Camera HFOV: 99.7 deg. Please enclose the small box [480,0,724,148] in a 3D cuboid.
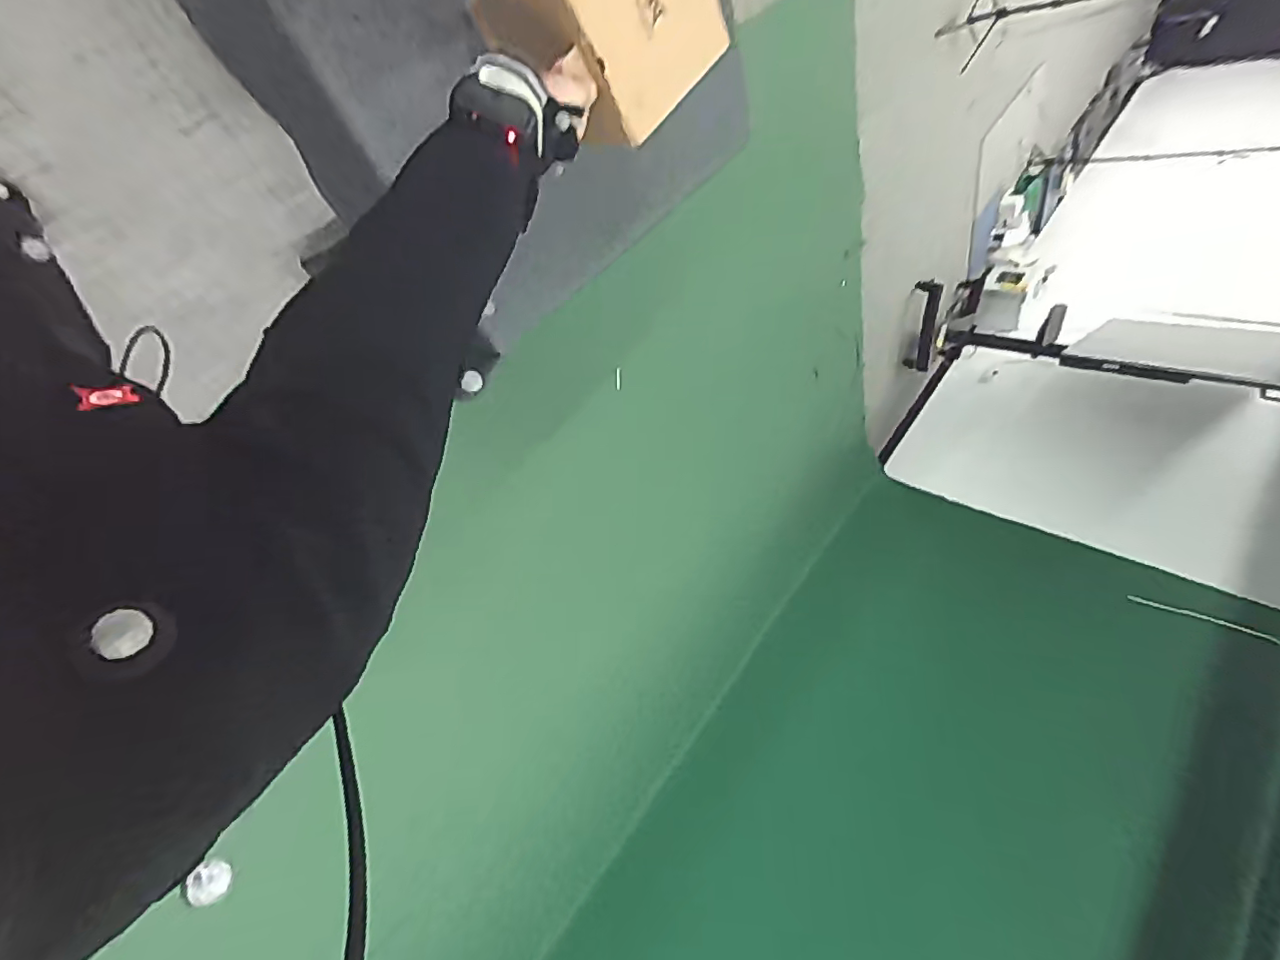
[{"bbox_3d":[-0.045,-0.487,0.582,0.179,0.176,0.168,-54,140,-12],"label":"small box"}]
